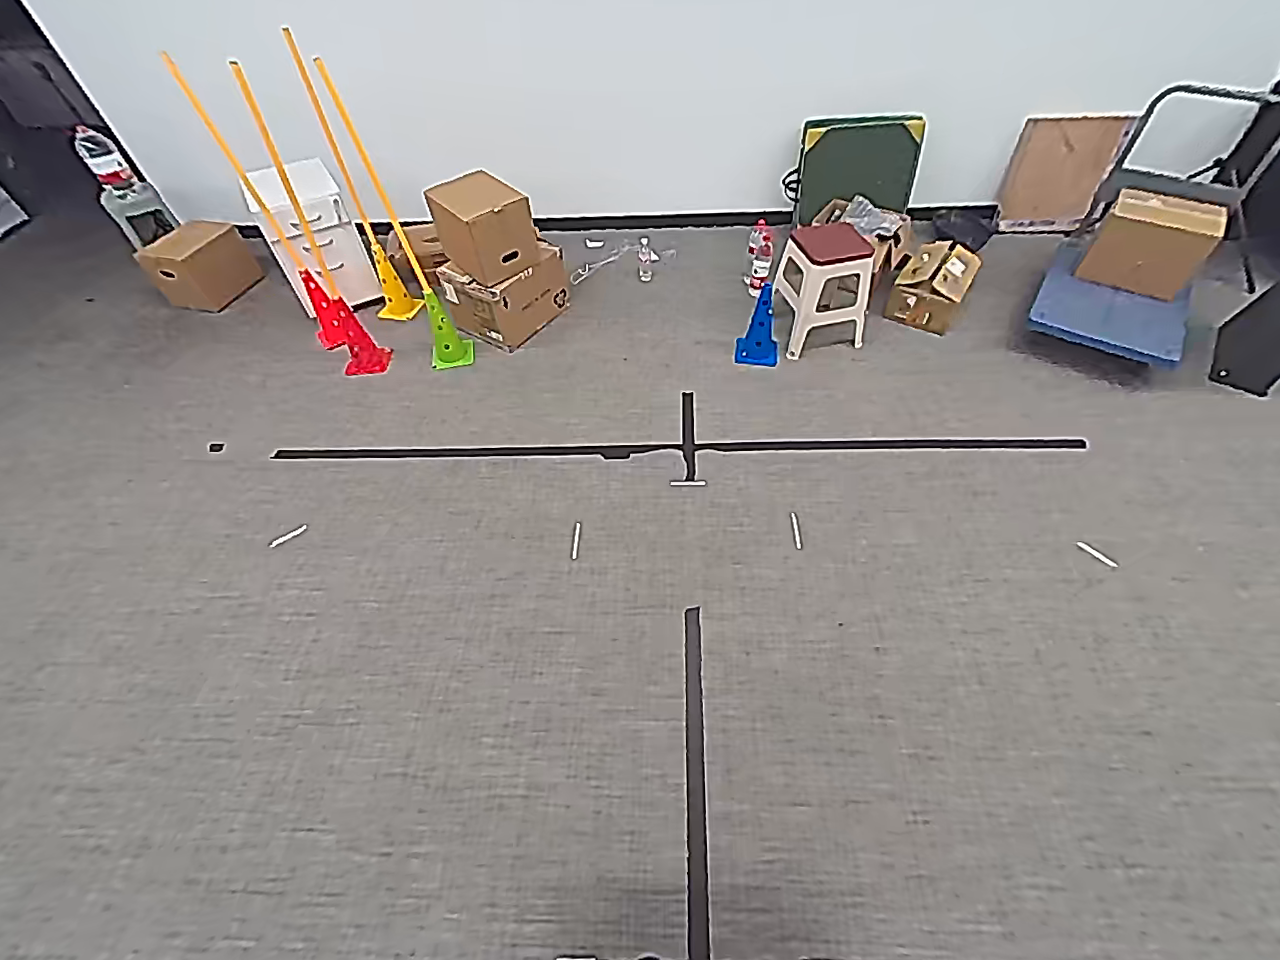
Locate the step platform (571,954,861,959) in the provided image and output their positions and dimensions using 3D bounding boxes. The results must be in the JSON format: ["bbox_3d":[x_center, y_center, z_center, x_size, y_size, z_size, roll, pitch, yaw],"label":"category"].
[{"bbox_3d":[0.164,1.143,1.081,0.684,0.204,0.286,-1,51,1],"label":"step platform"}]
